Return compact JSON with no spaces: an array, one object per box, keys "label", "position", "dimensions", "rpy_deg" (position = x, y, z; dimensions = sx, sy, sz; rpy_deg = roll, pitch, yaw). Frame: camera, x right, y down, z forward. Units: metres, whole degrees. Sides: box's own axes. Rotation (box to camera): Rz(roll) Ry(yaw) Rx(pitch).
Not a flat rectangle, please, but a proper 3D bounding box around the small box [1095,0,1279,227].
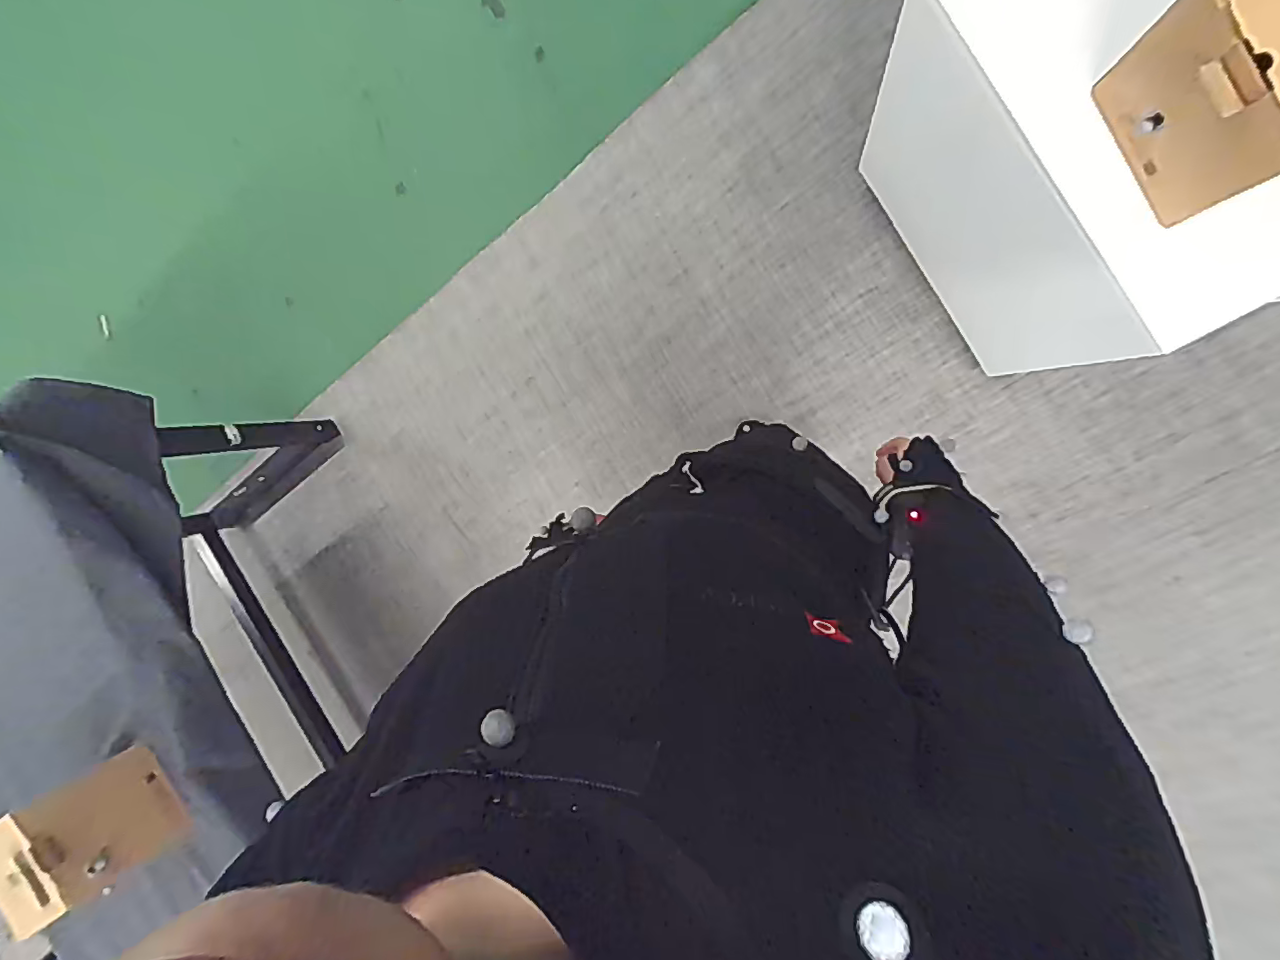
[{"label":"small box","position":[0.562,-0.358,0.467],"dimensions":[0.179,0.176,0.168],"rpy_deg":[-28,90,17]}]
